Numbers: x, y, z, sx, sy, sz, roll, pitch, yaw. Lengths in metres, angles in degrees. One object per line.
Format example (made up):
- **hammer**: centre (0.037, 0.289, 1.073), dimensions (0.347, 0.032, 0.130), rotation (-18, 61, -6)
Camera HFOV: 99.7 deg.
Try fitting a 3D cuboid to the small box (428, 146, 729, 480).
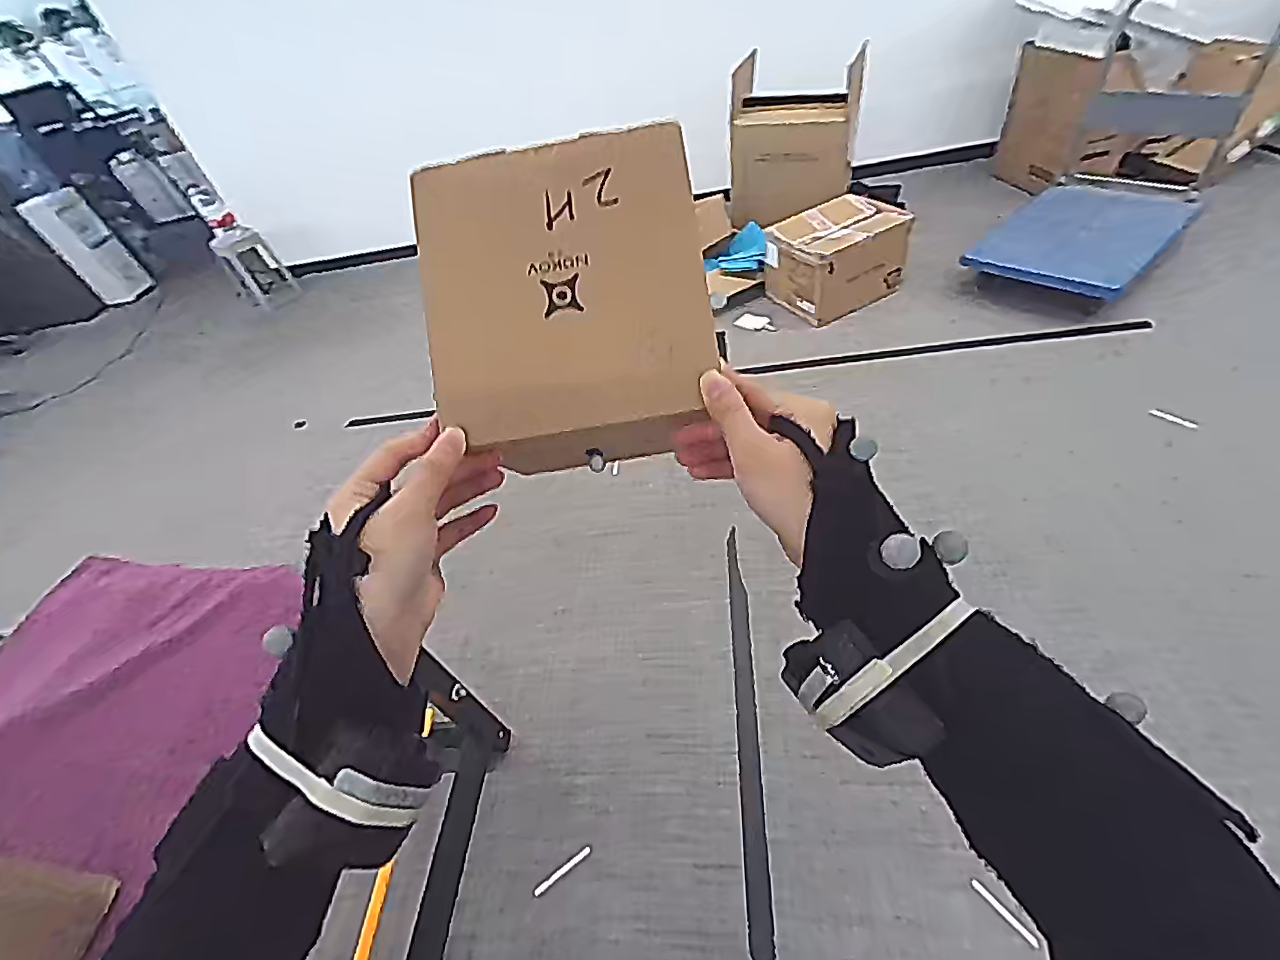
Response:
- **small box**: centre (-0.033, -0.097, 0.398), dimensions (0.168, 0.176, 0.179), rotation (-8, 85, 3)
